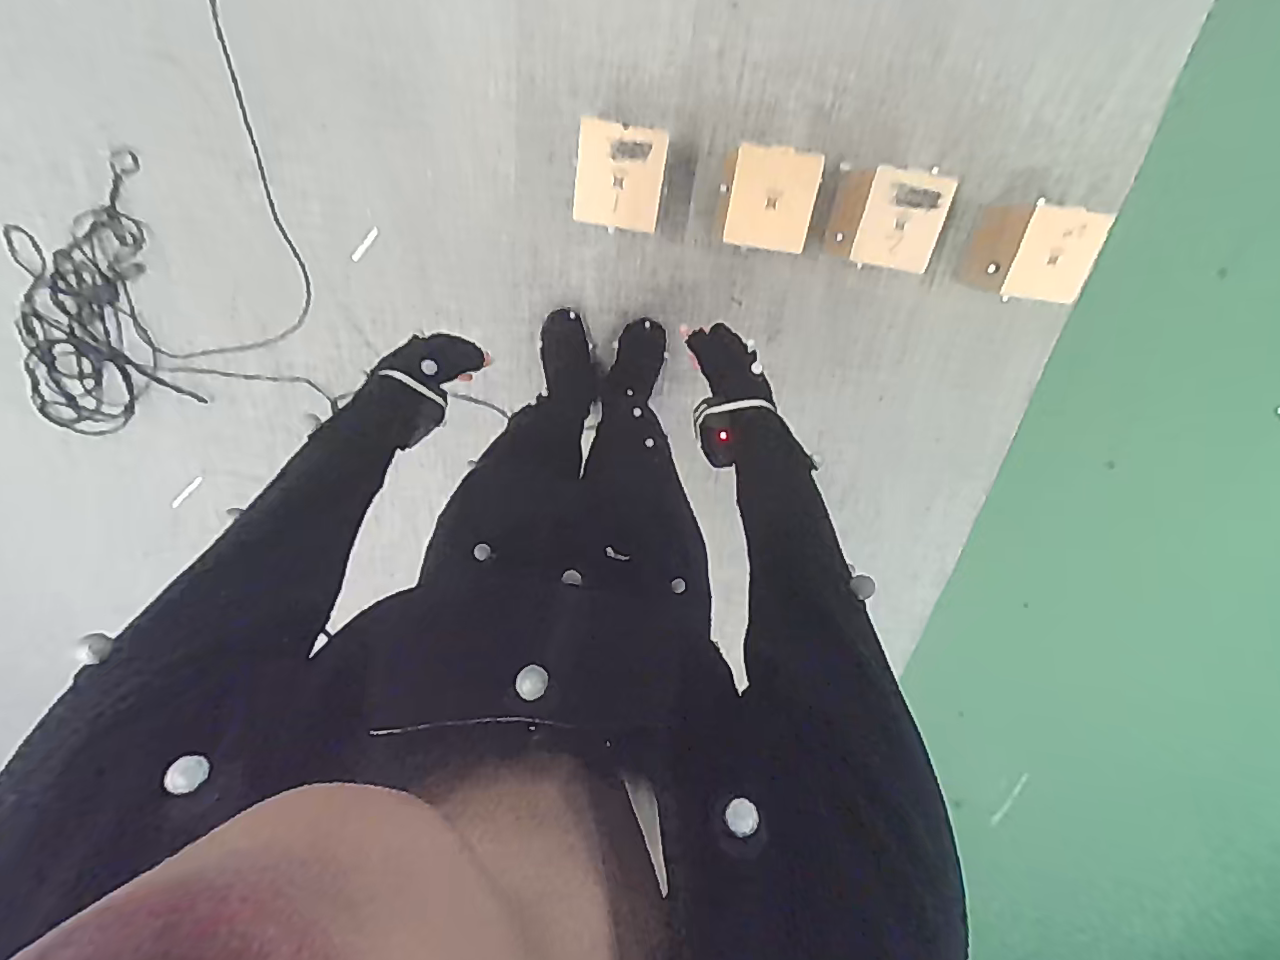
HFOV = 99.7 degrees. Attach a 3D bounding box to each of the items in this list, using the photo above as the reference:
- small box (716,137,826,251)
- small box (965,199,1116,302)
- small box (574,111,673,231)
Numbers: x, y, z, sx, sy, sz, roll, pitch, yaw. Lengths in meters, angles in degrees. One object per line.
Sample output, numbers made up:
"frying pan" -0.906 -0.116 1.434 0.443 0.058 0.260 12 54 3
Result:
"small box" 0.256 -0.578 1.106 0.168 0.176 0.179 6 115 -4
"small box" 0.838 -0.494 1.158 0.168 0.176 0.179 6 117 -5
"small box" -0.036 -0.611 1.084 0.168 0.176 0.179 8 117 -4
